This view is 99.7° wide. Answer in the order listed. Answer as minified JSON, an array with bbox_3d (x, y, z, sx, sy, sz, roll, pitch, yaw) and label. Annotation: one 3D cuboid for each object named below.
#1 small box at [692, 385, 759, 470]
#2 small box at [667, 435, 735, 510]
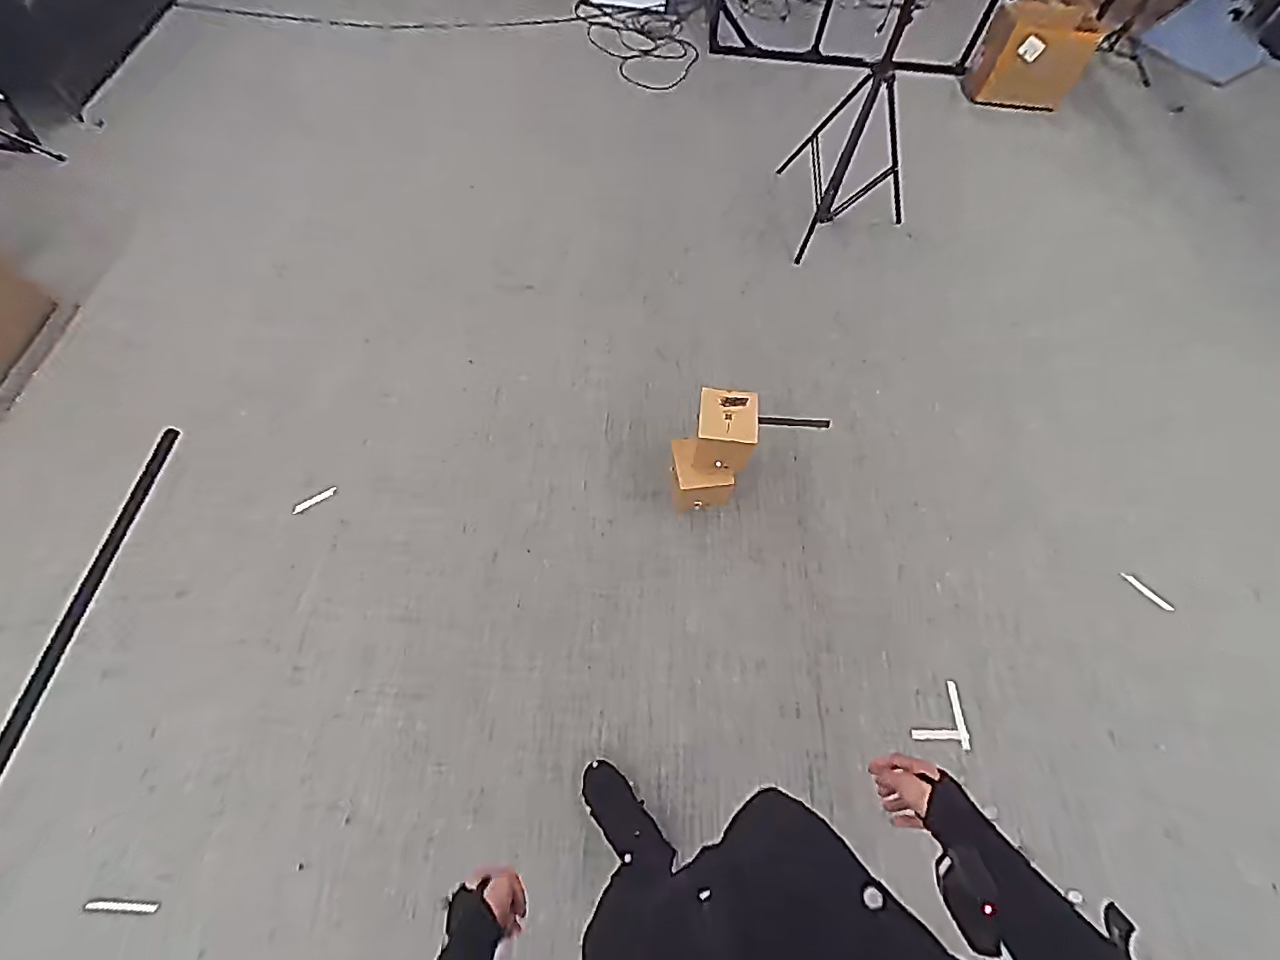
[{"bbox_3d":[0.246,-0.150,1.575,0.168,0.176,0.179,6,62,1],"label":"small box"},{"bbox_3d":[0.184,-0.025,1.691,0.168,0.176,0.179,-6,63,-6],"label":"small box"}]
